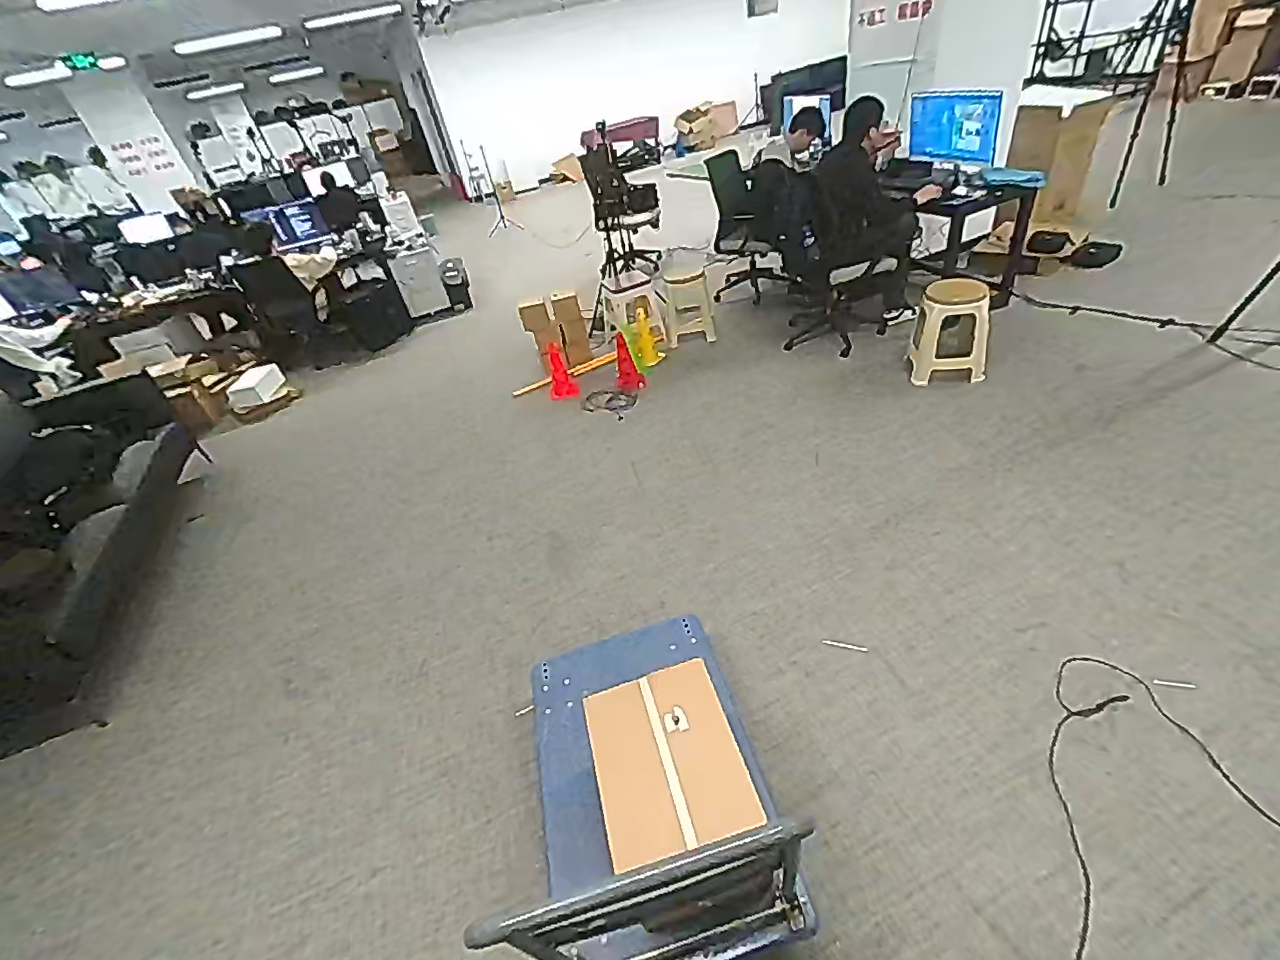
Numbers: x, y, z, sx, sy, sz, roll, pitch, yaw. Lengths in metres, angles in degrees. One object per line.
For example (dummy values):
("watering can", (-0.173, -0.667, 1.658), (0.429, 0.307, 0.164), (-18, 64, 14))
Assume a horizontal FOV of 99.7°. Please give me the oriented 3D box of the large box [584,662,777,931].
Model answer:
("large box", (0.087, 0.722, 1.262), (0.320, 0.320, 0.408), (-16, 37, -6))
